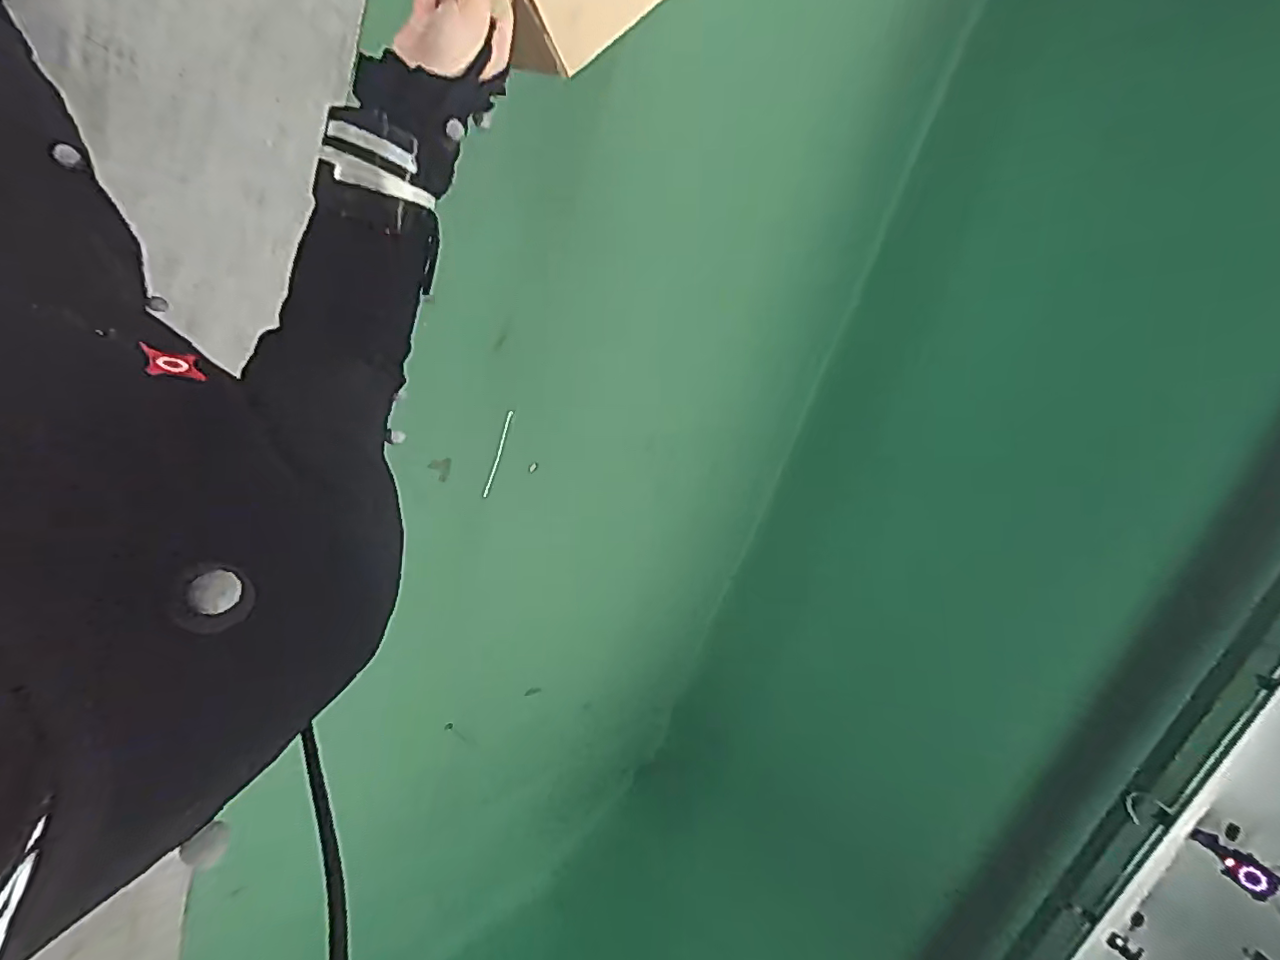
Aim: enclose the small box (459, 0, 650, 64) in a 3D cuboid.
[{"bbox_3d":[-0.074,-0.472,0.425,0.179,0.176,0.168,-45,145,-5],"label":"small box"}]
